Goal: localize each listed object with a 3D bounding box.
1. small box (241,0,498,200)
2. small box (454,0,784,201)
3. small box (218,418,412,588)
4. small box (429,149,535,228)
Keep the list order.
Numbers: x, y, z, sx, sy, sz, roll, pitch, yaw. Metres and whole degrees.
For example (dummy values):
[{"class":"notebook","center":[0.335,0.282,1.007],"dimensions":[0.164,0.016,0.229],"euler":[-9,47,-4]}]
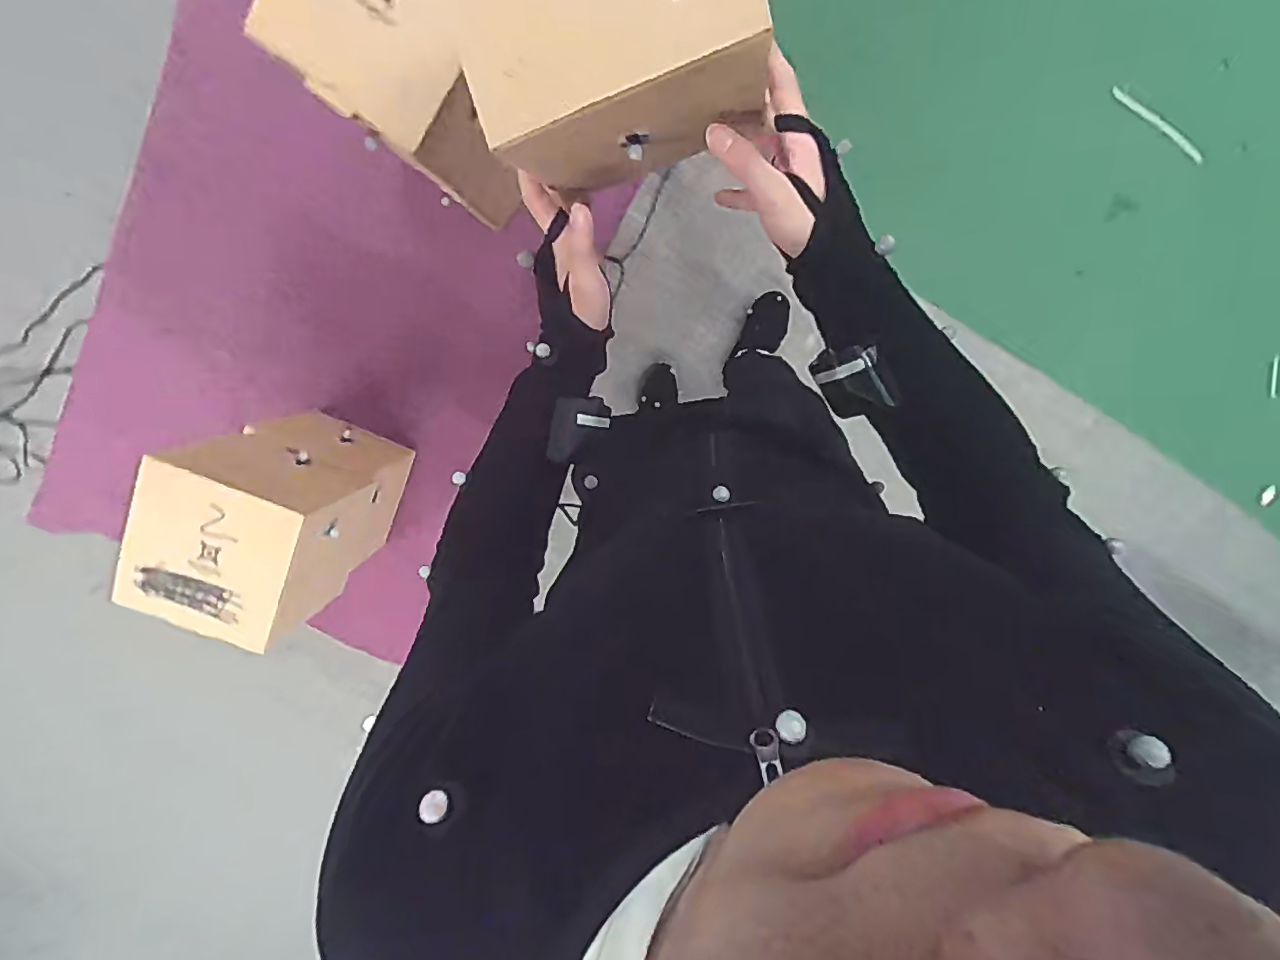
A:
[{"class":"small box","center":[-0.215,-0.407,0.518],"dimensions":[0.168,0.176,0.179],"euler":[37,101,-8]},{"class":"small box","center":[-0.011,-0.314,0.368],"dimensions":[0.179,0.176,0.168],"euler":[-12,104,15]},{"class":"small box","center":[-0.461,0.023,0.795],"dimensions":[0.168,0.176,0.179],"euler":[23,103,-6]},{"class":"small box","center":[-0.215,-0.450,0.678],"dimensions":[0.168,0.176,0.179],"euler":[38,101,-9]}]
